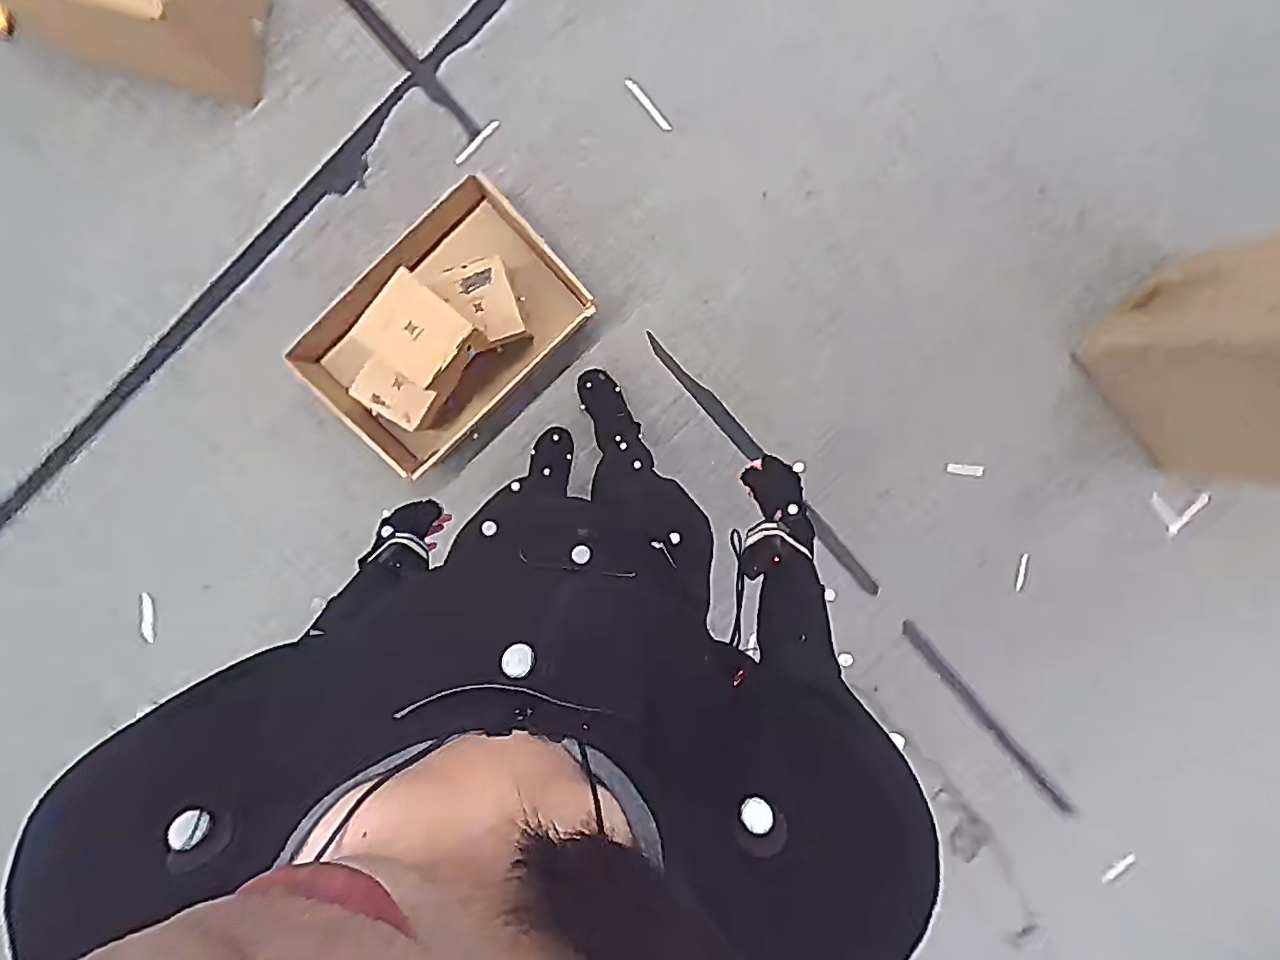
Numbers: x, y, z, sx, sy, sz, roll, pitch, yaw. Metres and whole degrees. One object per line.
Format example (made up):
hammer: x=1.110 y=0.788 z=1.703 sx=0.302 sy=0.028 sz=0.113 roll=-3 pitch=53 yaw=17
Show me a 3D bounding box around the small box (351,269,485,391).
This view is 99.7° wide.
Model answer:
small box: x=-0.448 y=-0.302 z=1.127 sx=0.179 sy=0.176 sz=0.168 roll=38 pitch=92 yaw=-9
